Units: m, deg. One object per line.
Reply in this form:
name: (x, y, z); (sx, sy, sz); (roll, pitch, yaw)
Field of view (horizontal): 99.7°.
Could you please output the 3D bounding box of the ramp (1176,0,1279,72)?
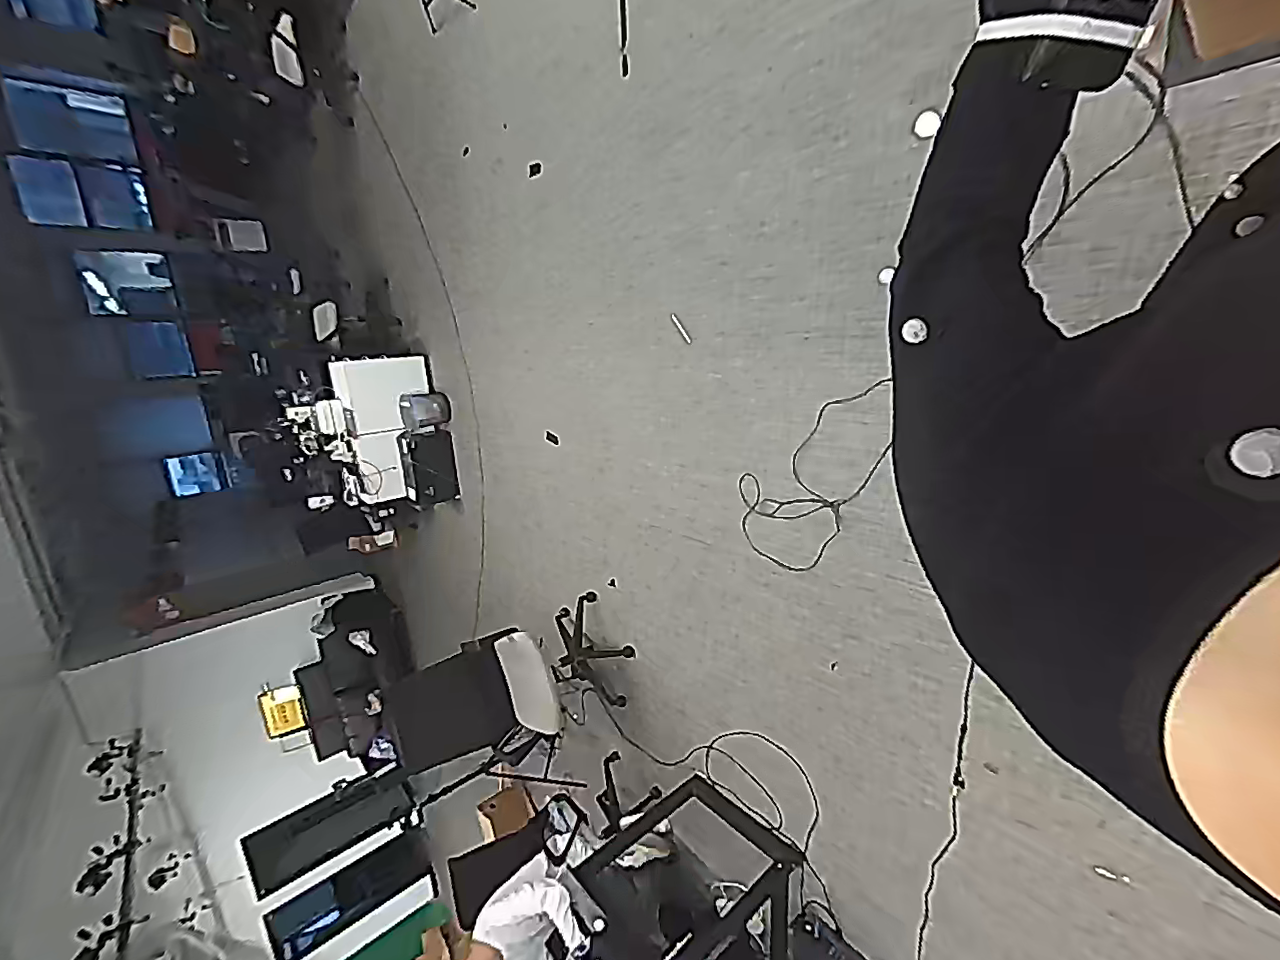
ramp: (1.046, -1.163, 0.638); (0.509, 0.206, 0.991); (10, 110, 48)
